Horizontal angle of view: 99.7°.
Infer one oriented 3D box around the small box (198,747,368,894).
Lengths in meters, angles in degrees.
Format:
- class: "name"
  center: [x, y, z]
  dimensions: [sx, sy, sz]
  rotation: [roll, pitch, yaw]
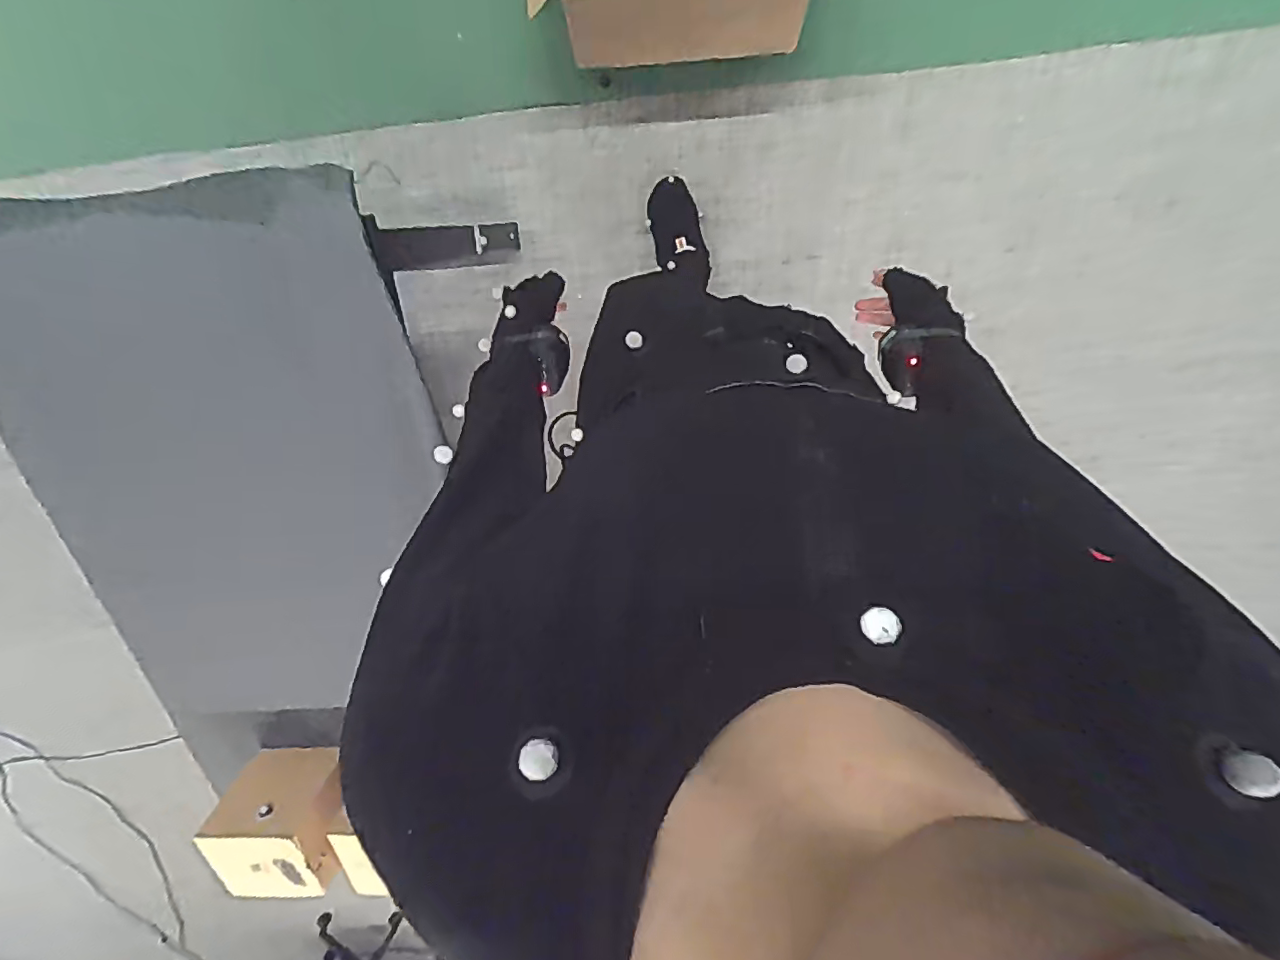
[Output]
- class: "small box"
  center: [-0.620, 0.605, 0.972]
  dimensions: [0.179, 0.176, 0.168]
  rotation: [-3, 115, 5]
